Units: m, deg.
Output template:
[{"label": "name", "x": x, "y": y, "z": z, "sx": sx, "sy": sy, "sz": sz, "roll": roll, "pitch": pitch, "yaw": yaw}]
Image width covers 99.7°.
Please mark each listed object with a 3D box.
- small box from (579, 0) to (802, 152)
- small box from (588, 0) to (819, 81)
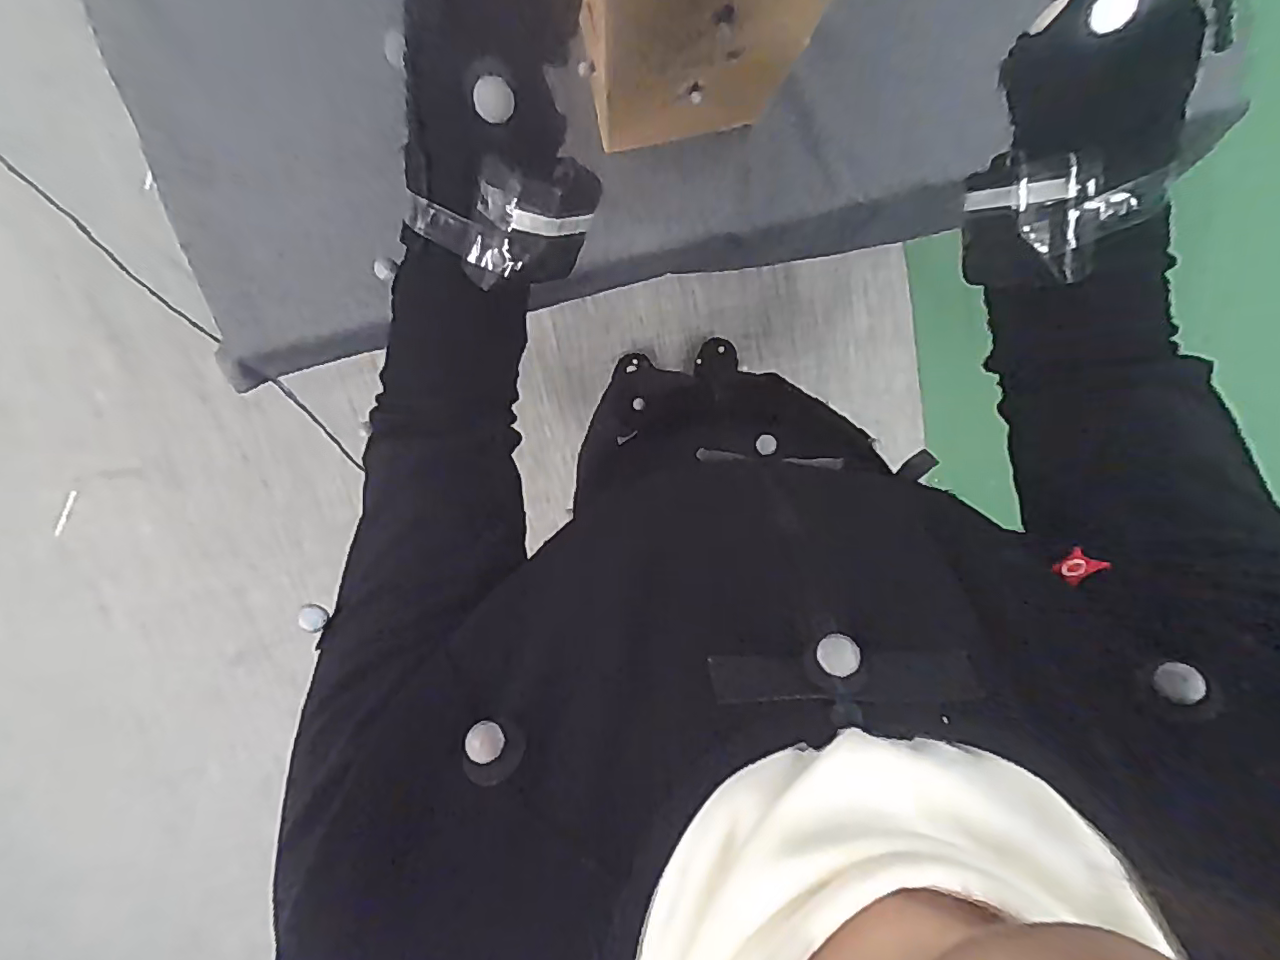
[{"label": "small box", "x": 0.035, "y": -0.444, "z": 0.521, "sx": 0.179, "sy": 0.176, "sz": 0.168, "roll": -12, "pitch": 104, "yaw": -1}, {"label": "small box", "x": 0.040, "y": -0.405, "z": 0.362, "sx": 0.168, "sy": 0.176, "sz": 0.179, "roll": -11, "pitch": 104, "yaw": 0}]
